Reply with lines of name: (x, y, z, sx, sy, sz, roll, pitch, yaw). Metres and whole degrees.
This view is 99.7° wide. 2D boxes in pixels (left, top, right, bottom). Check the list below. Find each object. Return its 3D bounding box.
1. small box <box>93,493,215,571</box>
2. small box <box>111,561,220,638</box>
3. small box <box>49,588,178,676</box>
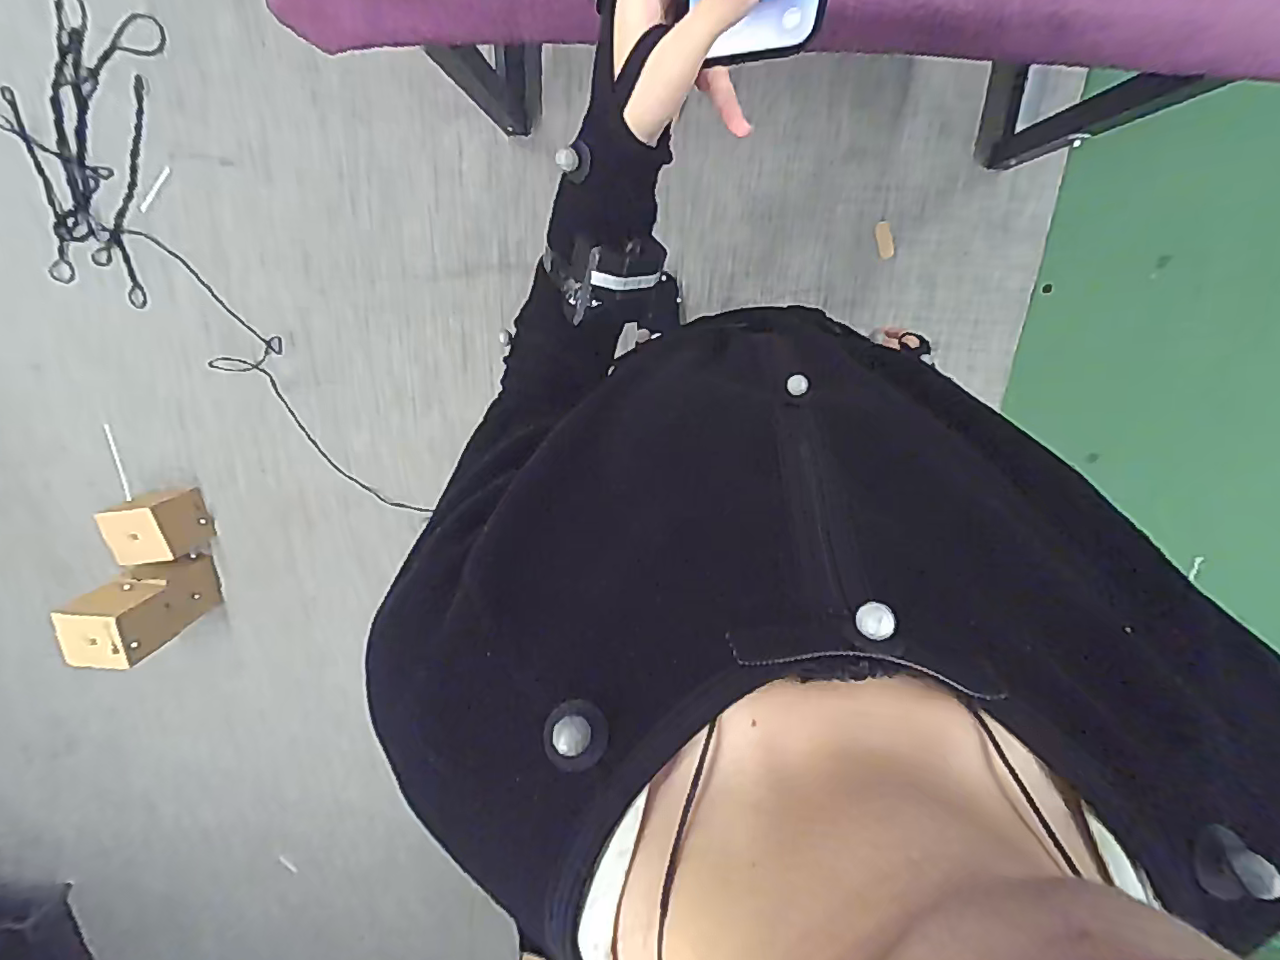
small box: (-1.405, 0.147, 1.575, 0.179, 0.176, 0.168, -7, 109, 5)
small box: (-1.432, 0.355, 1.645, 0.168, 0.176, 0.179, 3, 109, 3)
small box: (-1.440, 0.413, 1.491, 0.179, 0.176, 0.168, 4, 109, 3)
